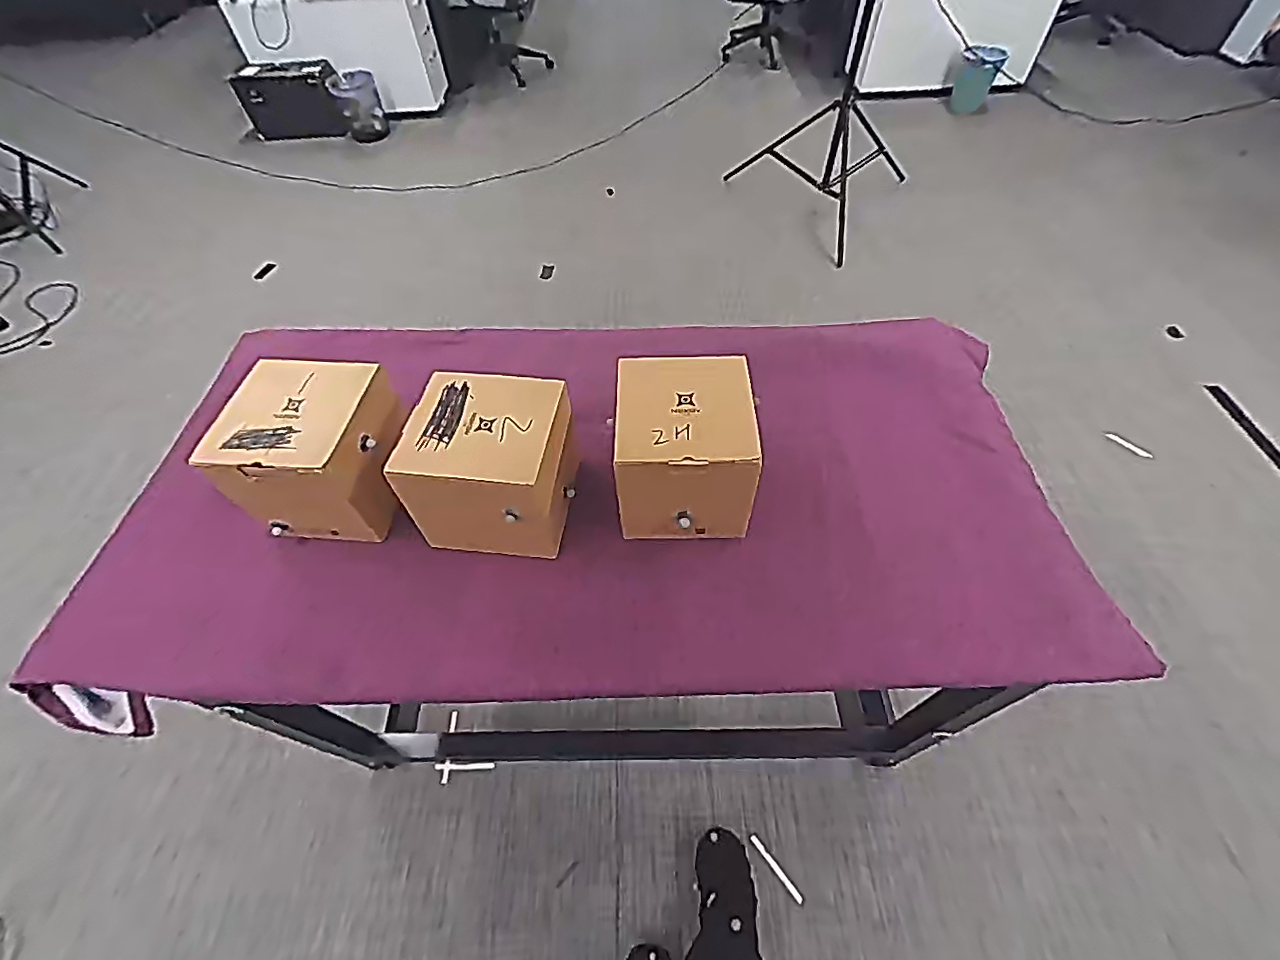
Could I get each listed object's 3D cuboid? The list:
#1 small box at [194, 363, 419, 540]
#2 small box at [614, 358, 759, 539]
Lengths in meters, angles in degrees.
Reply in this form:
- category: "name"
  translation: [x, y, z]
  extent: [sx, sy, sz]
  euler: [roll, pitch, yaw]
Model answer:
- category: "small box"
  translation: [-0.423, -0.034, 0.727]
  extent: [0.168, 0.176, 0.179]
  euler: [3, 54, 4]
- category: "small box"
  translation: [0.055, -0.040, 0.714]
  extent: [0.168, 0.176, 0.179]
  euler: [-1, 53, 2]
